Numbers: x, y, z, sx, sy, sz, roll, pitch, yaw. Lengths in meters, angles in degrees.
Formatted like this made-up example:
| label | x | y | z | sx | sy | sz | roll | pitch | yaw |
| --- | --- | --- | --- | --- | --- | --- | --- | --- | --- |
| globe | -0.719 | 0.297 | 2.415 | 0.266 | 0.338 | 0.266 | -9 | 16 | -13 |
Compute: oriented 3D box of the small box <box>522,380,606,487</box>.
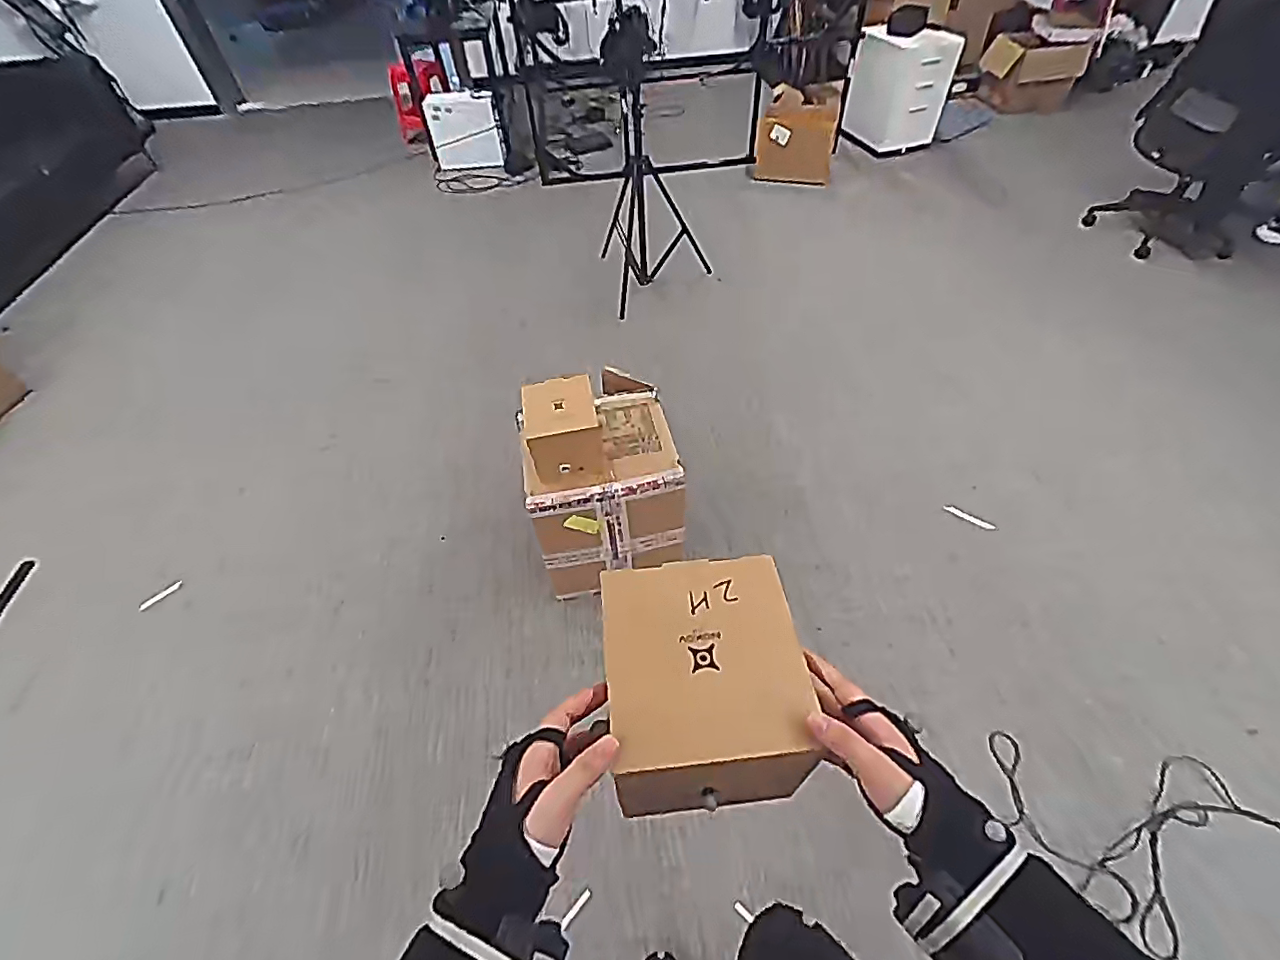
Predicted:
| label | x | y | z | sx | sy | sz | roll | pitch | yaw |
| --- | --- | --- | --- | --- | --- | --- | --- | --- | --- |
| small box | -0.182 | -0.110 | 1.306 | 0.168 | 0.176 | 0.179 | -12 | 54 | -4 |
